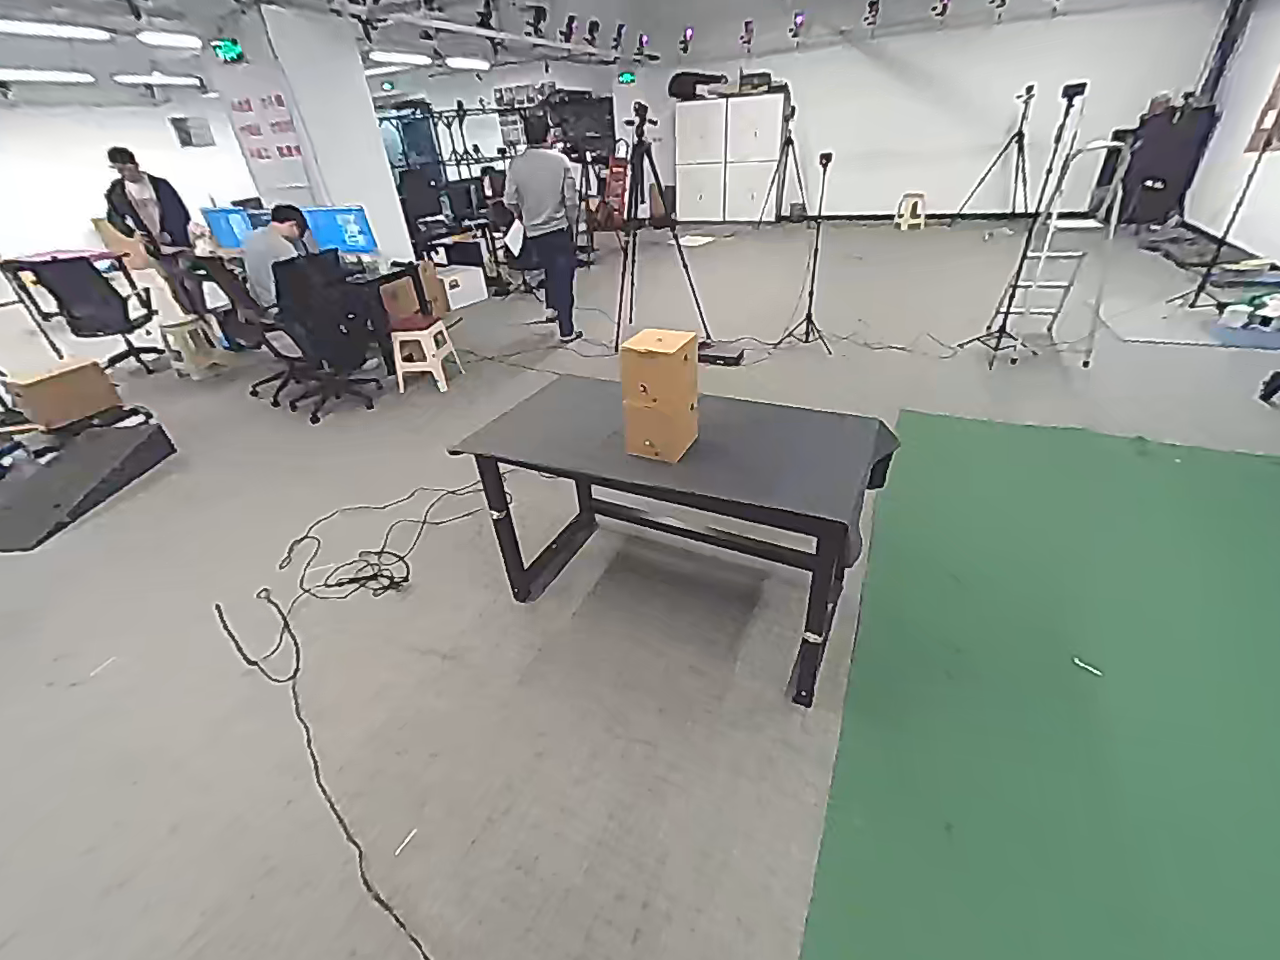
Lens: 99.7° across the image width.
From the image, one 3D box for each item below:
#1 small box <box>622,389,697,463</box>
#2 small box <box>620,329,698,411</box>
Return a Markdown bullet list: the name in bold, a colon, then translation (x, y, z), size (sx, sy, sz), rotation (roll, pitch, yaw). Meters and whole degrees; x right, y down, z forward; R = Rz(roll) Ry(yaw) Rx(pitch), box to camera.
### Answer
- **small box**: translation (0.061, -0.173, 1.616), size (0.168, 0.176, 0.179), rotation (12, 35, 24)
- **small box**: translation (0.055, -0.314, 1.534), size (0.168, 0.176, 0.179), rotation (13, 36, 23)
